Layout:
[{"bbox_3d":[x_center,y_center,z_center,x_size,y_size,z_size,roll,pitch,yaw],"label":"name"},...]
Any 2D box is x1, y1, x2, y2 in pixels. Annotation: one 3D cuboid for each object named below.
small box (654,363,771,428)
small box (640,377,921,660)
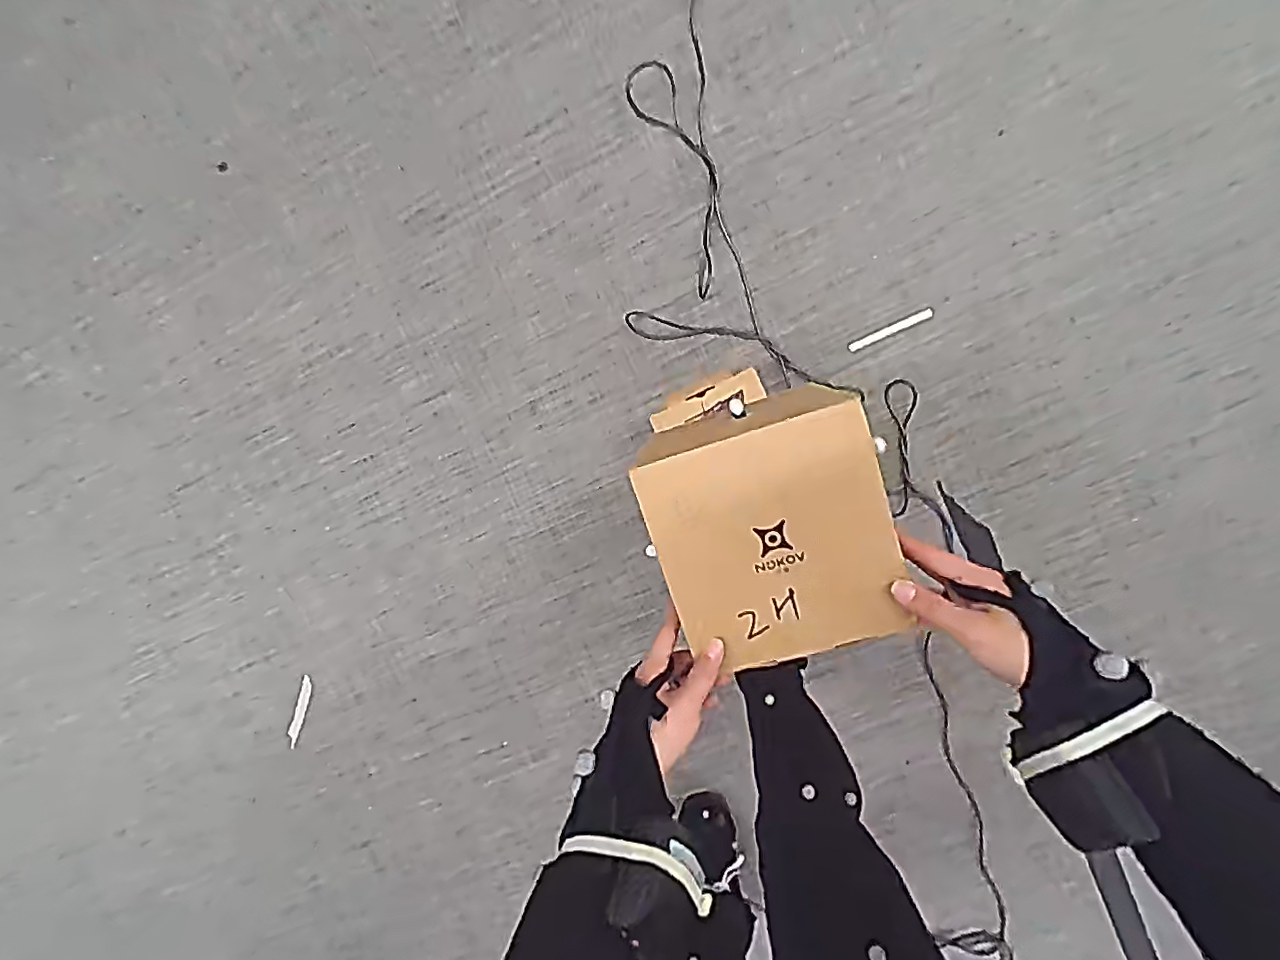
[{"bbox_3d":[0.134,-0.064,0.845,0.168,0.176,0.179,-24,95,9],"label":"small box"},{"bbox_3d":[0.109,0.019,0.464,0.168,0.176,0.179,-17,101,11],"label":"small box"}]
